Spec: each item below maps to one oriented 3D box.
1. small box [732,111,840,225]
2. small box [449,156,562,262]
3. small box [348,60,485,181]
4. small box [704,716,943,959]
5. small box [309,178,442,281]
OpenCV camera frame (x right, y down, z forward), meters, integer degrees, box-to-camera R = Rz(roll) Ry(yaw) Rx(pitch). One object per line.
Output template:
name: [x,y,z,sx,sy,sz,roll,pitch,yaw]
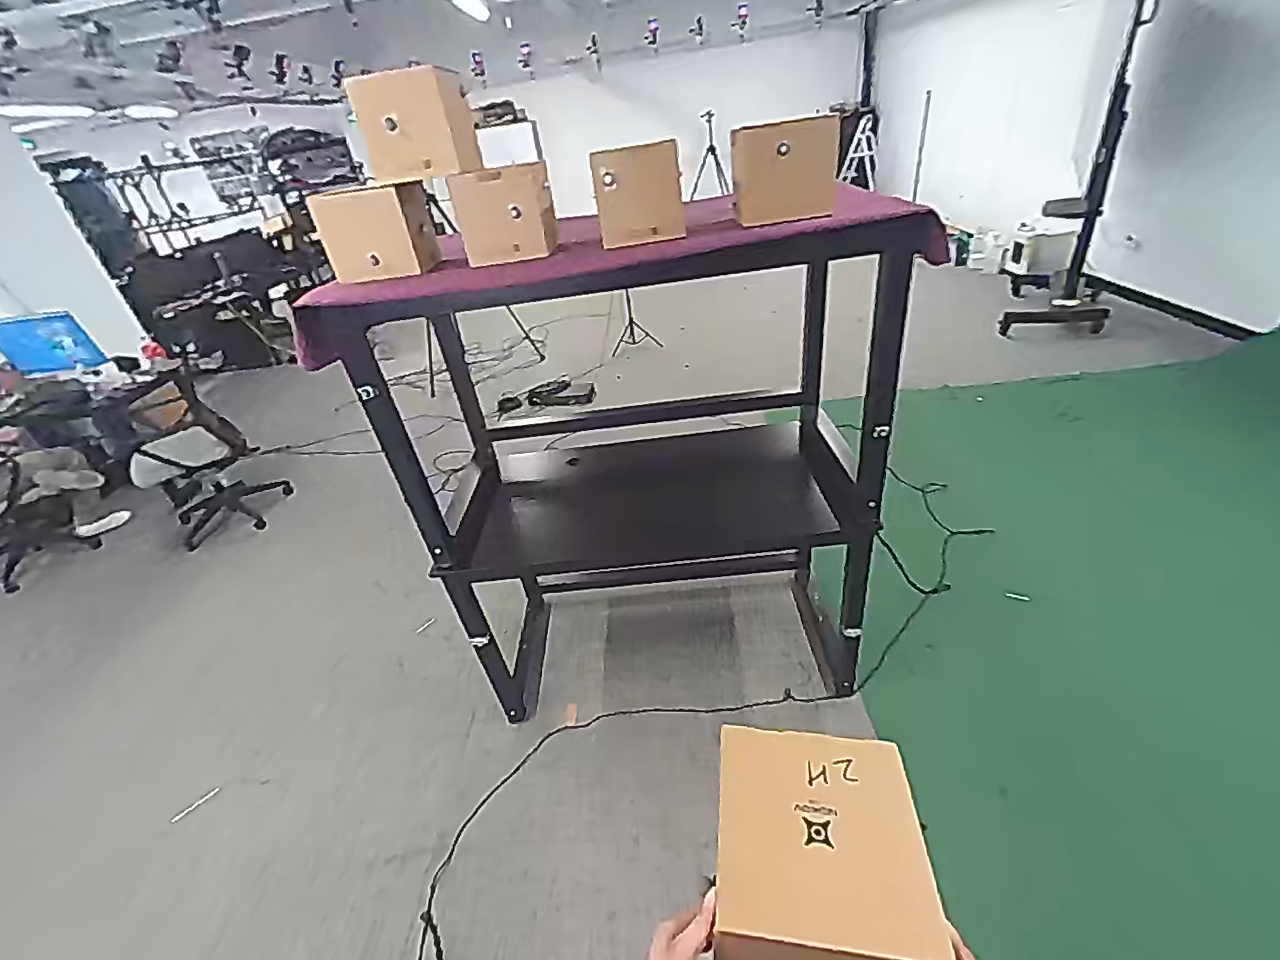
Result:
small box: [0.284,-0.615,1.074,0.179,0.176,0.168,-6,32,5]
small box: [-0.264,-0.556,1.114,0.168,0.176,0.179,-5,32,5]
small box: [-0.414,-0.680,1.038,0.168,0.176,0.179,-6,32,4]
small box: [0.146,0.349,0.488,0.168,0.176,0.179,2,28,9]
small box: [-0.536,-0.526,1.128,0.179,0.176,0.168,-6,32,1]
